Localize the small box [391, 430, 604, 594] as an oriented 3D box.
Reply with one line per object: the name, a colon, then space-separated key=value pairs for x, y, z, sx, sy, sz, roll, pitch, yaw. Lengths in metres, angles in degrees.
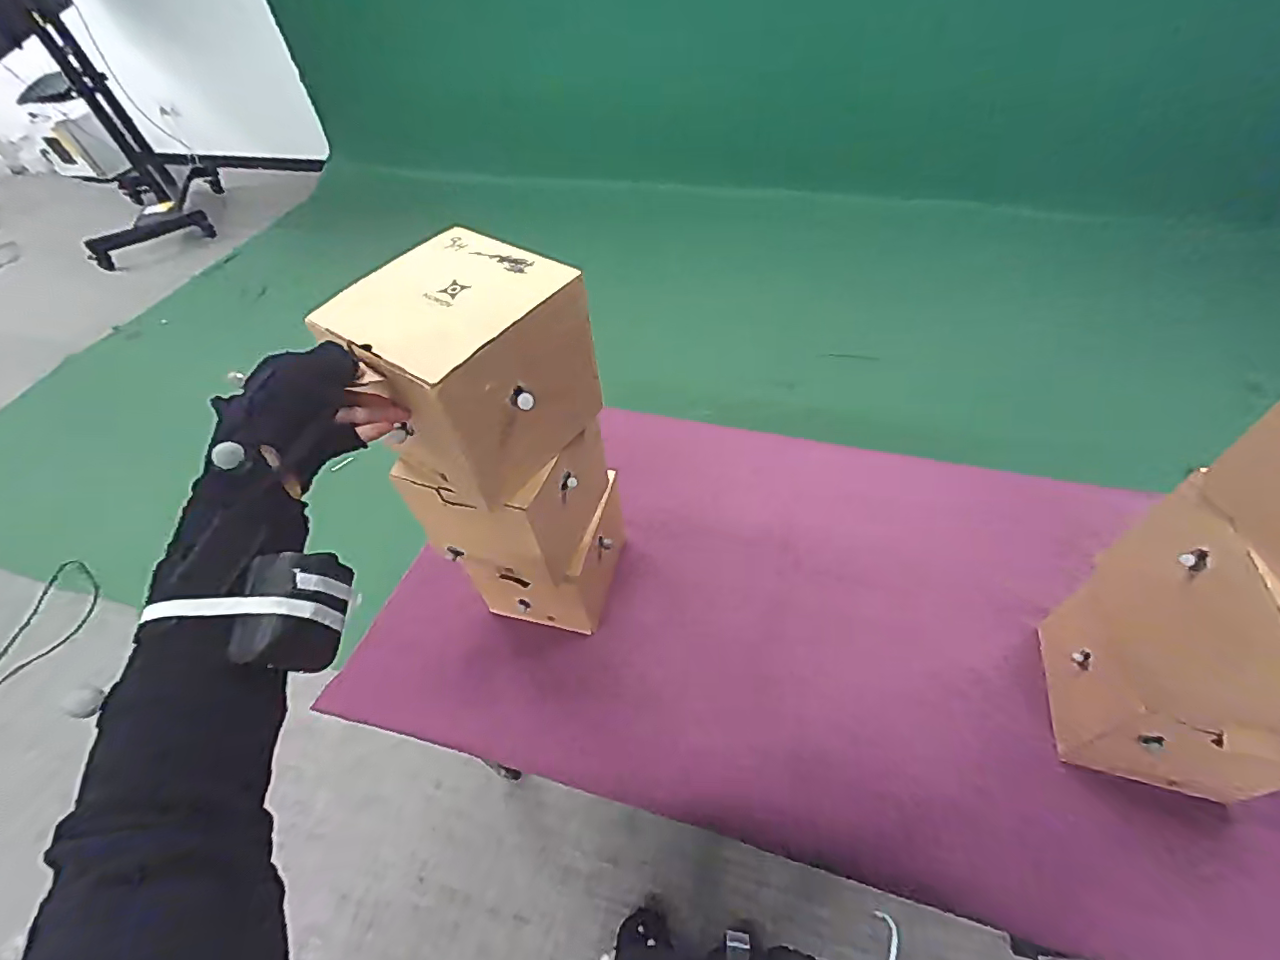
small box: x=-0.150 y=0.012 z=0.650 sx=0.168 sy=0.176 sz=0.179 roll=13 pitch=53 yaw=14

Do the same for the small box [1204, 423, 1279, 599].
small box: x=0.567 y=0.025 z=0.361 sx=0.168 sy=0.176 sz=0.179 roll=0 pitch=50 yaw=4

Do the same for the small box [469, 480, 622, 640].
small box: x=-0.127 y=0.105 z=0.785 sx=0.168 sy=0.176 sz=0.179 roll=9 pitch=53 yaw=12

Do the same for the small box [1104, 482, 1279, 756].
small box: x=0.572 y=0.130 z=0.487 sx=0.168 sy=0.176 sz=0.179 roll=8 pitch=51 yaw=12

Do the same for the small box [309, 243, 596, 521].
small box: x=-0.160 y=-0.092 z=0.524 sx=0.168 sy=0.176 sz=0.179 roll=29 pitch=61 yaw=23
